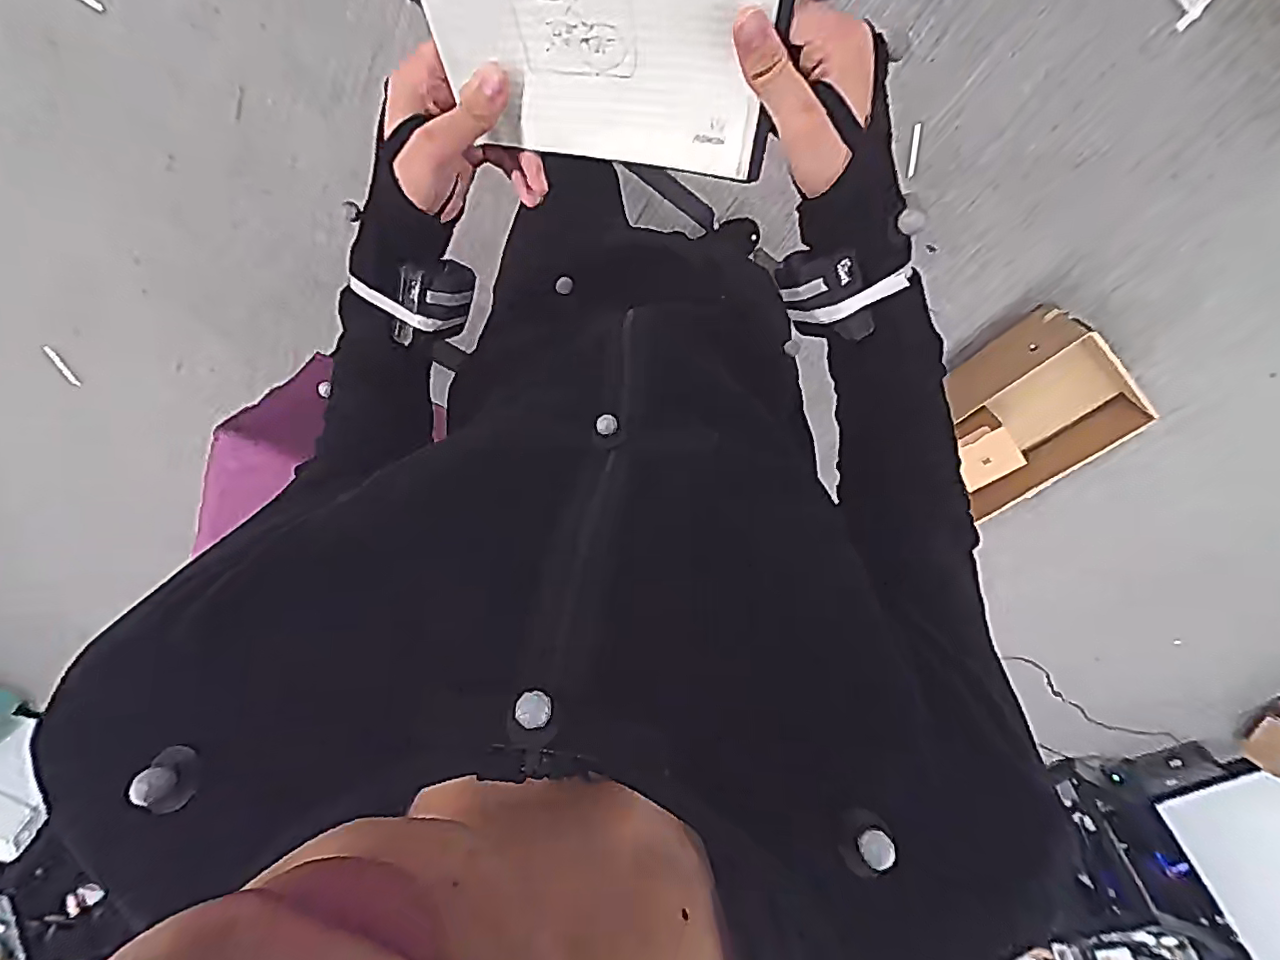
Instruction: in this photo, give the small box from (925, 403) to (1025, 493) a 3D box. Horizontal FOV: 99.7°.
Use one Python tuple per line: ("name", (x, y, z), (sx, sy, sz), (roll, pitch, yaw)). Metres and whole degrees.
("small box", (0.972, -0.102, 1.584), (0.168, 0.176, 0.179), (-35, 119, 26))
